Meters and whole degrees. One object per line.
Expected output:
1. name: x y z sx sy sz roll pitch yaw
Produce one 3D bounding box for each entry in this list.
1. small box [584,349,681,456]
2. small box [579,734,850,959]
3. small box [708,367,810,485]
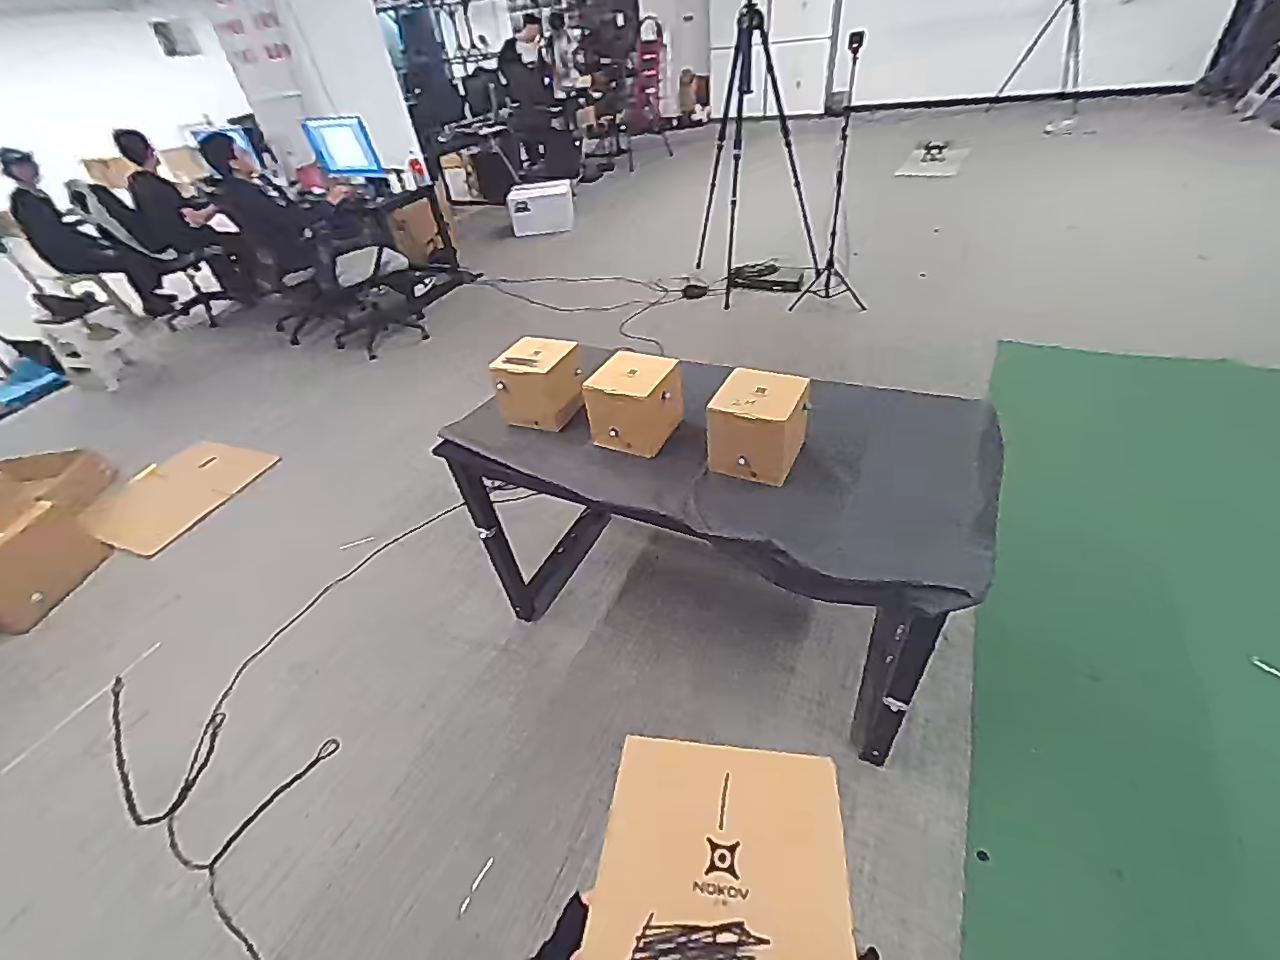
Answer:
1. small box: -0.011 -0.186 1.285 0.168 0.176 0.179 16 46 24
2. small box: 0.061 0.327 0.410 0.168 0.176 0.179 1 36 11
3. small box: 0.253 -0.119 1.164 0.168 0.176 0.179 15 46 25
